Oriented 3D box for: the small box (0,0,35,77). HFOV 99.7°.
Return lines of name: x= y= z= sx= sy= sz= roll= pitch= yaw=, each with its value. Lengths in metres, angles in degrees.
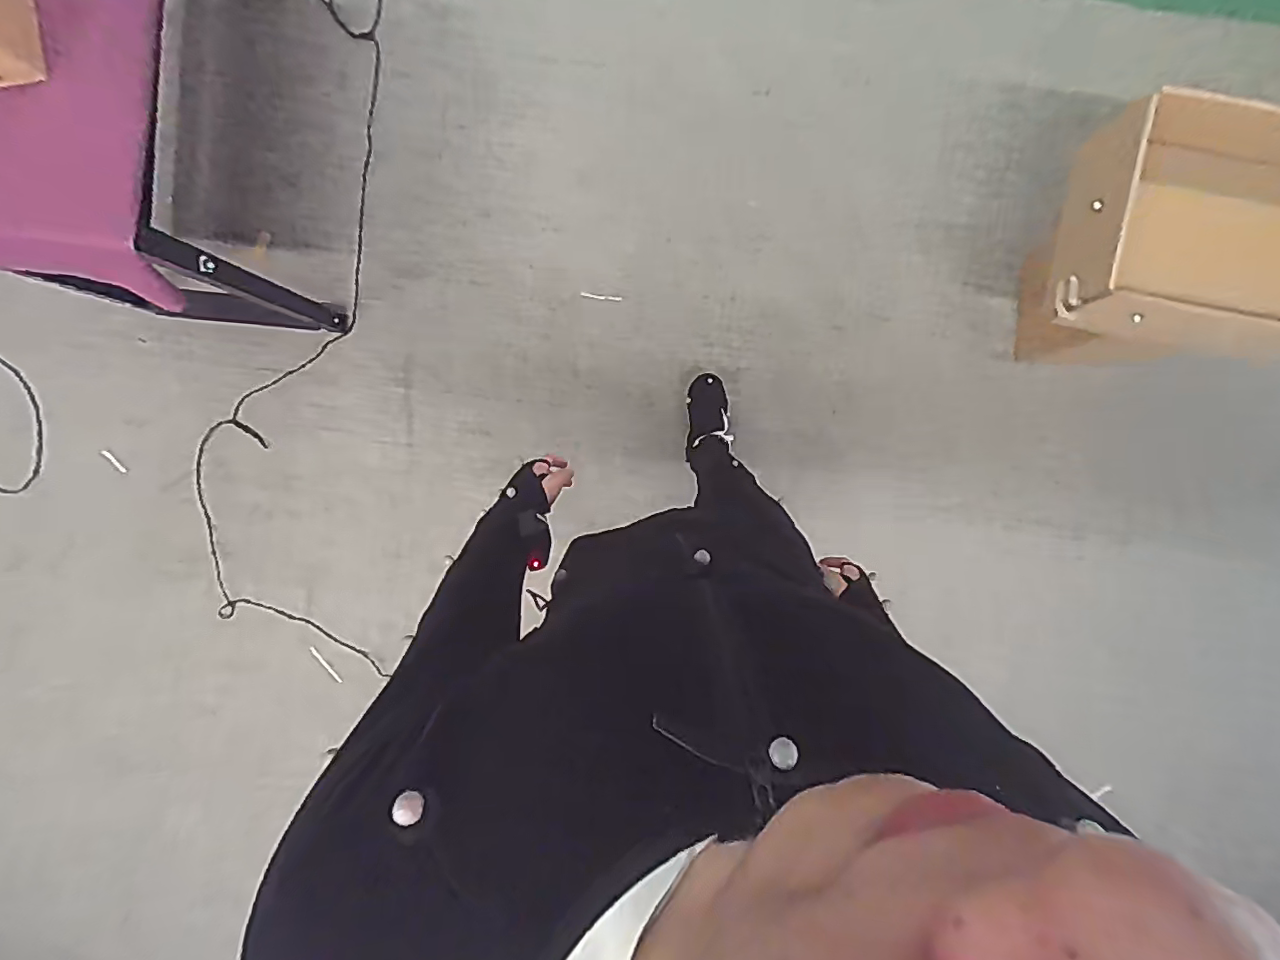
small box: x=-1.034 y=-0.712 z=0.763 sx=0.168 sy=0.176 sz=0.179 roll=-7 pitch=94 yaw=1
